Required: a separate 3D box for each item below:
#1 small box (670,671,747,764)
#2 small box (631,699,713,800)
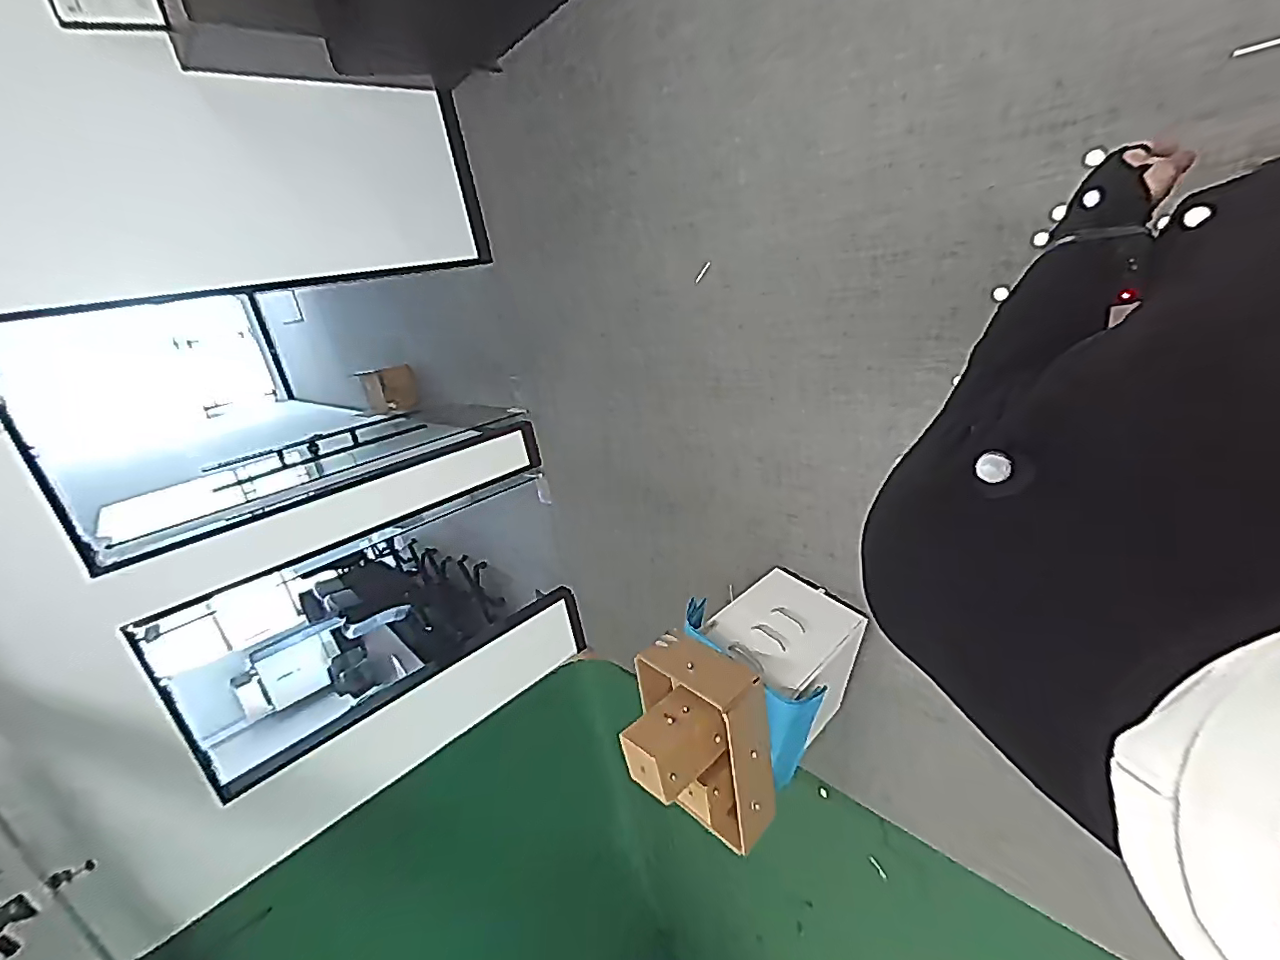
[{"bbox_3d":[0.224,0.751,1.729,0.168,0.176,0.179,12,120,50],"label":"small box"},{"bbox_3d":[0.101,0.809,1.638,0.168,0.176,0.179,9,117,50],"label":"small box"}]
